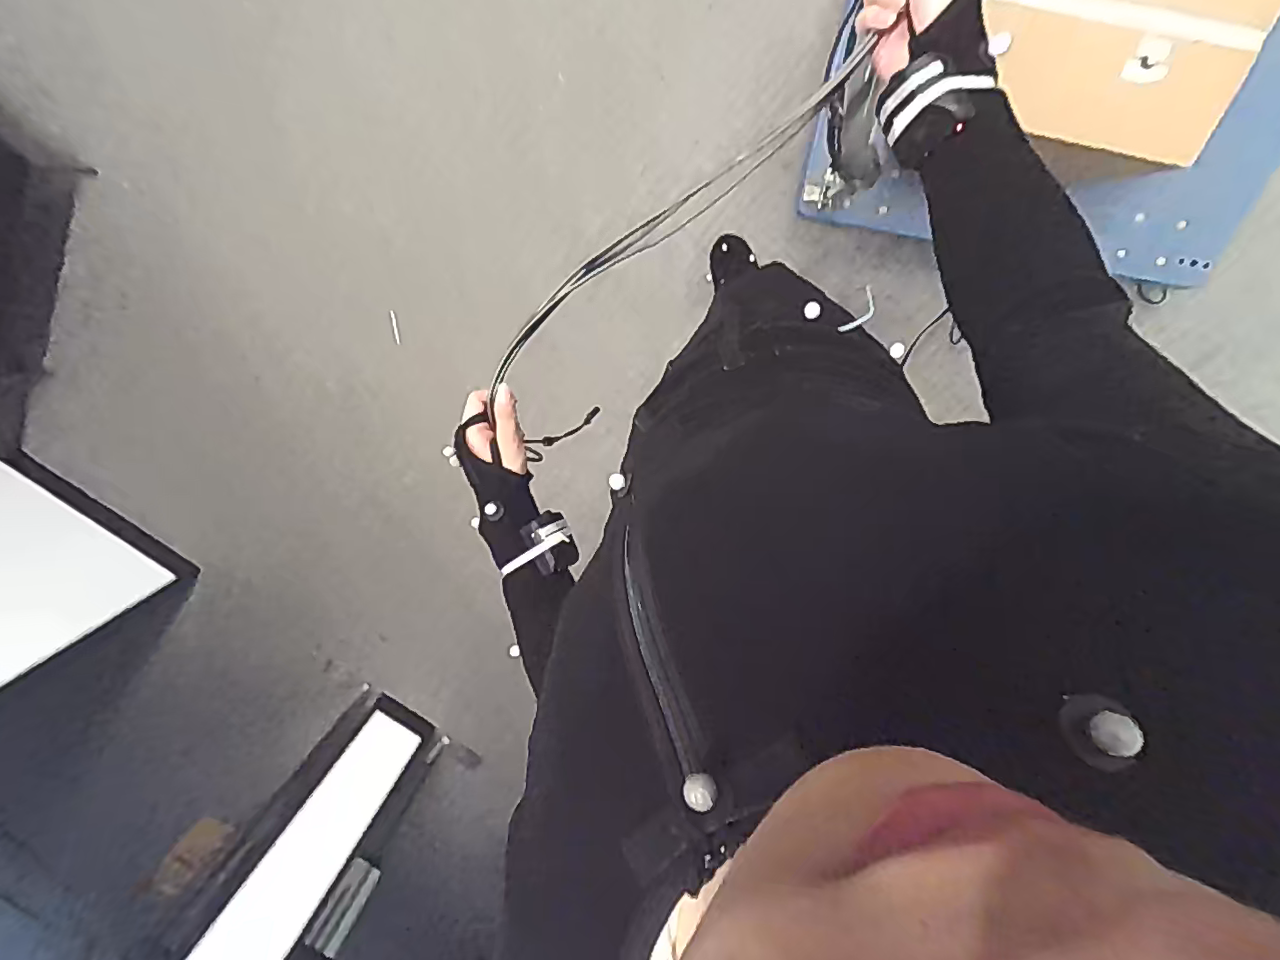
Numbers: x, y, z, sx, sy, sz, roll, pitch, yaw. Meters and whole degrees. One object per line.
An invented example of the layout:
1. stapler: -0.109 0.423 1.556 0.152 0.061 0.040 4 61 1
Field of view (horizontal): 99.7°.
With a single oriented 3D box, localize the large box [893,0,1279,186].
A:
1. large box: 0.714 -0.718 0.906 0.408 0.320 0.320 15 116 3
